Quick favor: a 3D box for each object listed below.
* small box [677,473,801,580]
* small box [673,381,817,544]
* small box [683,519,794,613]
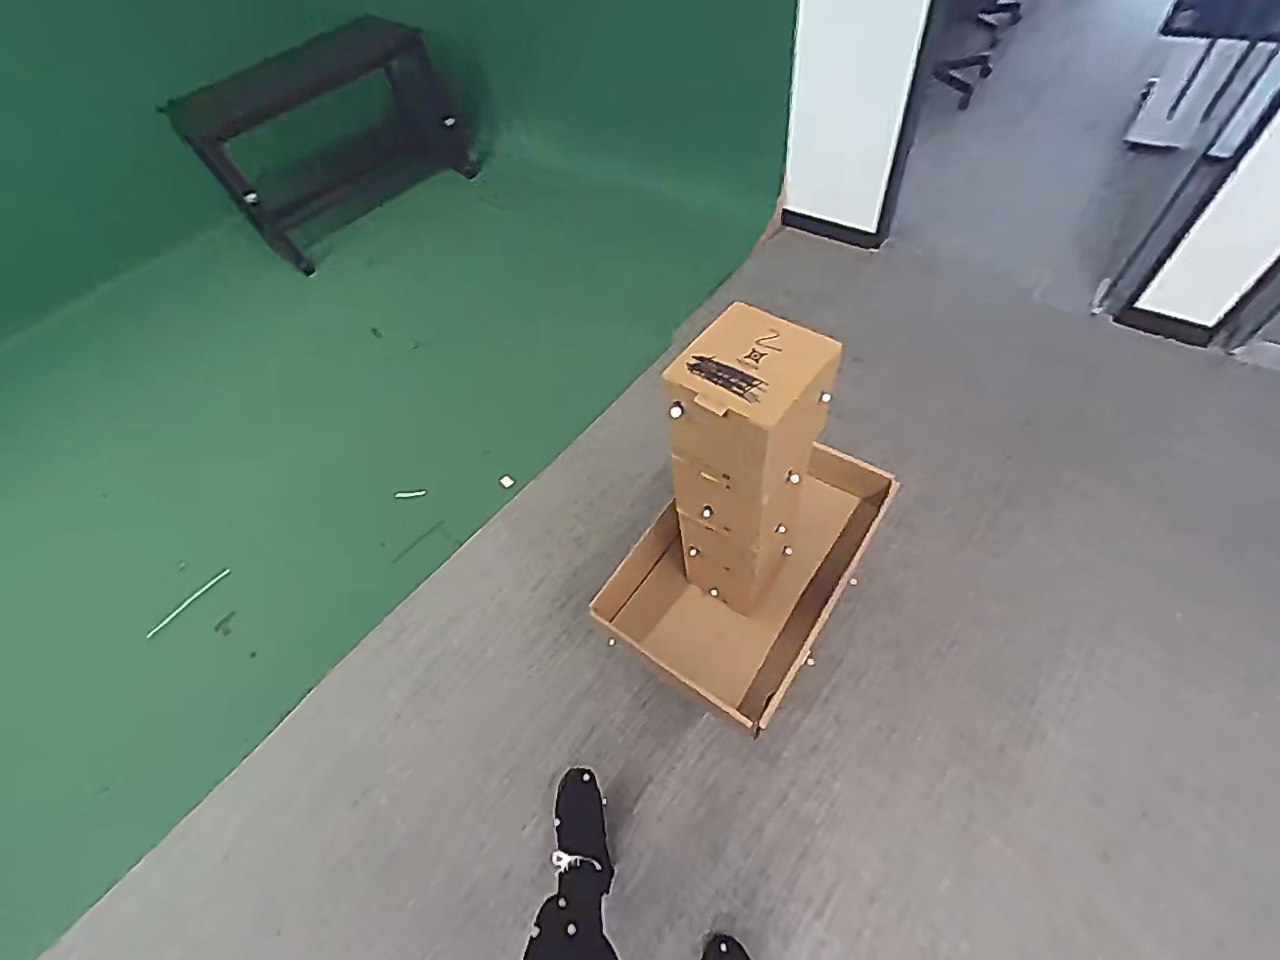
[{"bbox_3d":[0.189,0.061,1.034,0.168,0.176,0.179,27,63,24],"label":"small box"},{"bbox_3d":[0.169,-0.027,0.899,0.168,0.176,0.179,27,64,23],"label":"small box"},{"bbox_3d":[0.209,0.153,1.168,0.168,0.176,0.179,29,64,25],"label":"small box"}]
